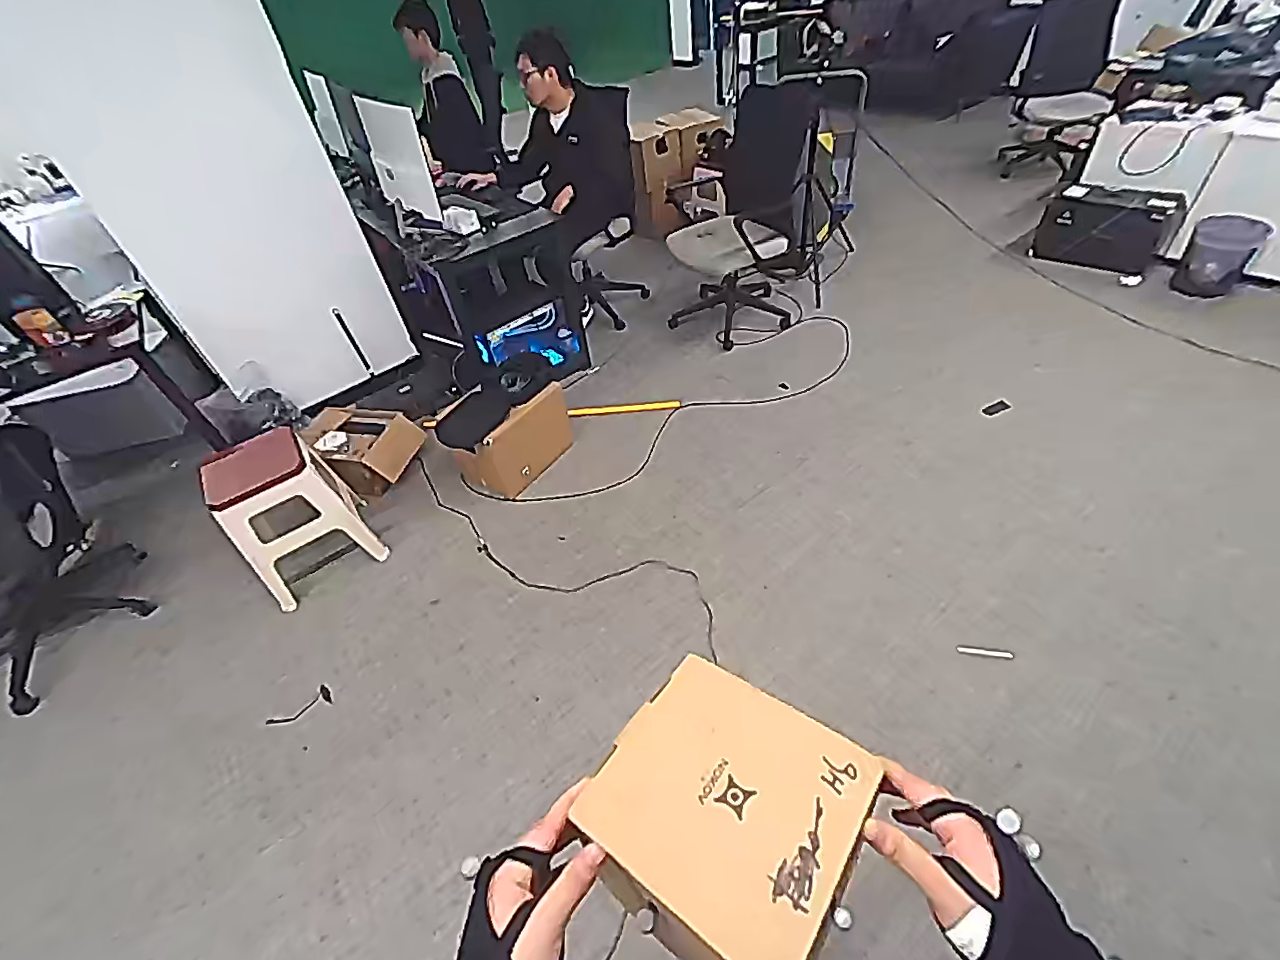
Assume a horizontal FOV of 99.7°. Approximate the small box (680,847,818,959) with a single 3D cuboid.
[{"bbox_3d":[0.191,0.811,0.963,0.179,0.176,0.168,-37,52,-27],"label":"small box"}]
